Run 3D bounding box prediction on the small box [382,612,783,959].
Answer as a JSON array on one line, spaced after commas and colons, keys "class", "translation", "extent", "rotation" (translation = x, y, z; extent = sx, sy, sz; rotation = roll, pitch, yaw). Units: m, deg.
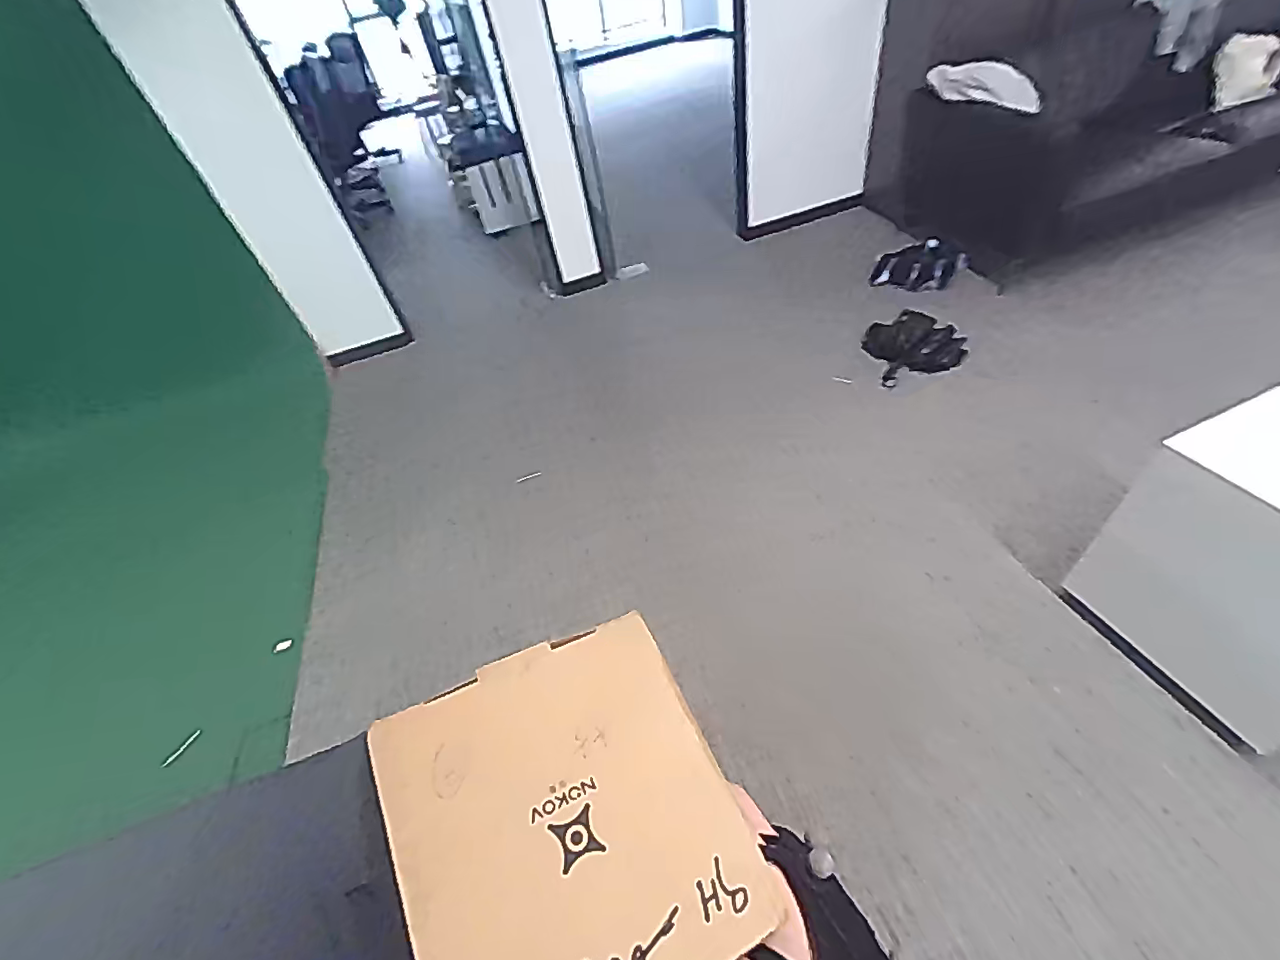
[{"class": "small box", "translation": [-0.046, 0.219, 0.349], "extent": [0.168, 0.176, 0.179], "rotation": [-18, 60, -21]}]
